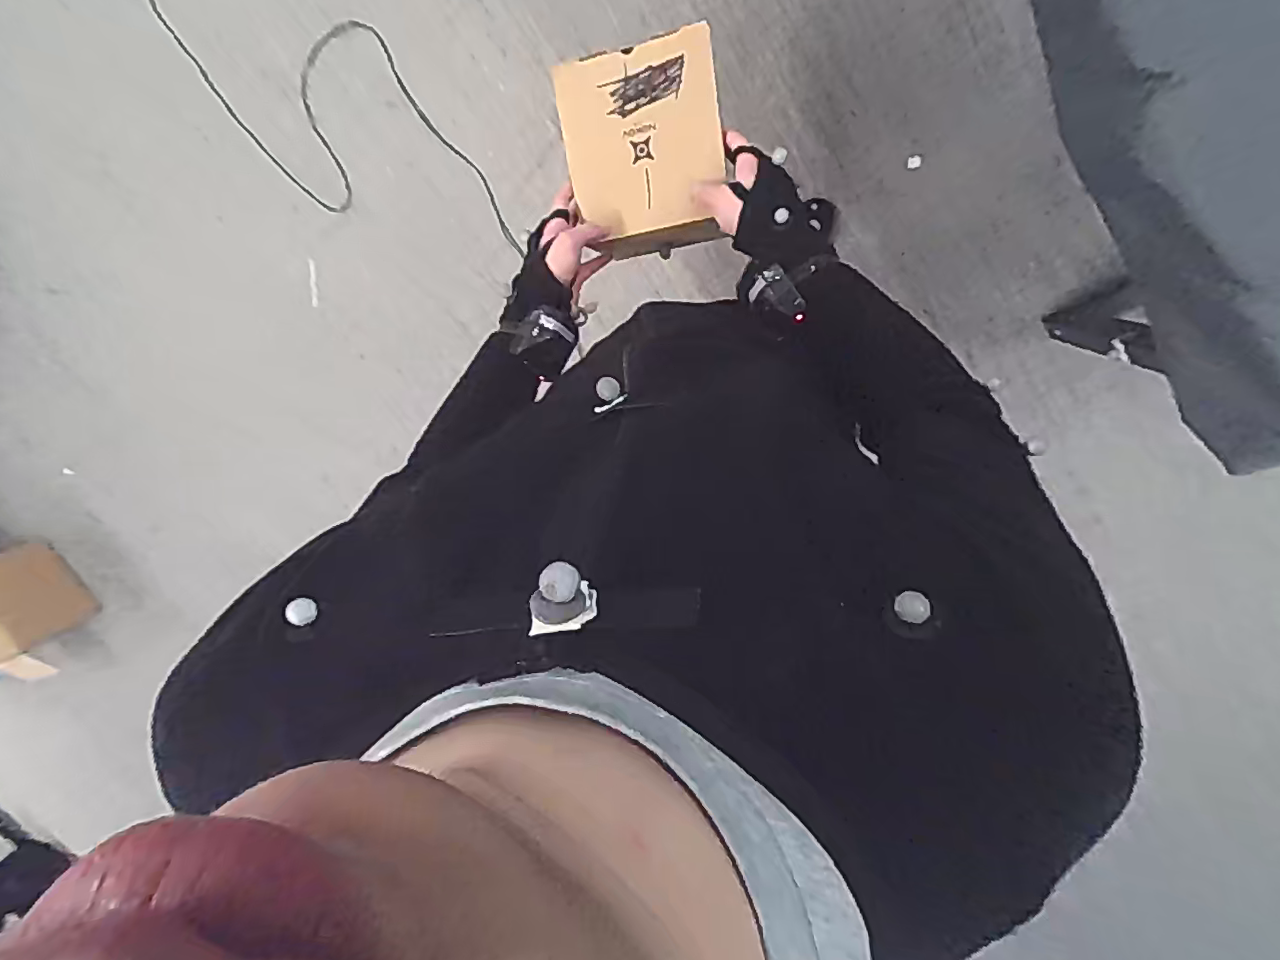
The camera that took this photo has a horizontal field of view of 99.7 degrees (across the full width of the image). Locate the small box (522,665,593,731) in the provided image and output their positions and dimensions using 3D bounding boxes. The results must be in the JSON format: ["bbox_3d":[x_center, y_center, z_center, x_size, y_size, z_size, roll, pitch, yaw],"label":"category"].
[{"bbox_3d":[-0.287,0.801,1.947,0.179,0.176,0.168,-31,102,23],"label":"small box"}]

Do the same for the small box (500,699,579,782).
[{"bbox_3d":[-0.325,0.861,1.801,0.179,0.176,0.168,-30,101,24],"label":"small box"}]

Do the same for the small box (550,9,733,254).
[{"bbox_3d":[0.014,-0.371,0.616,0.168,0.176,0.179,-6,105,12],"label":"small box"}]
